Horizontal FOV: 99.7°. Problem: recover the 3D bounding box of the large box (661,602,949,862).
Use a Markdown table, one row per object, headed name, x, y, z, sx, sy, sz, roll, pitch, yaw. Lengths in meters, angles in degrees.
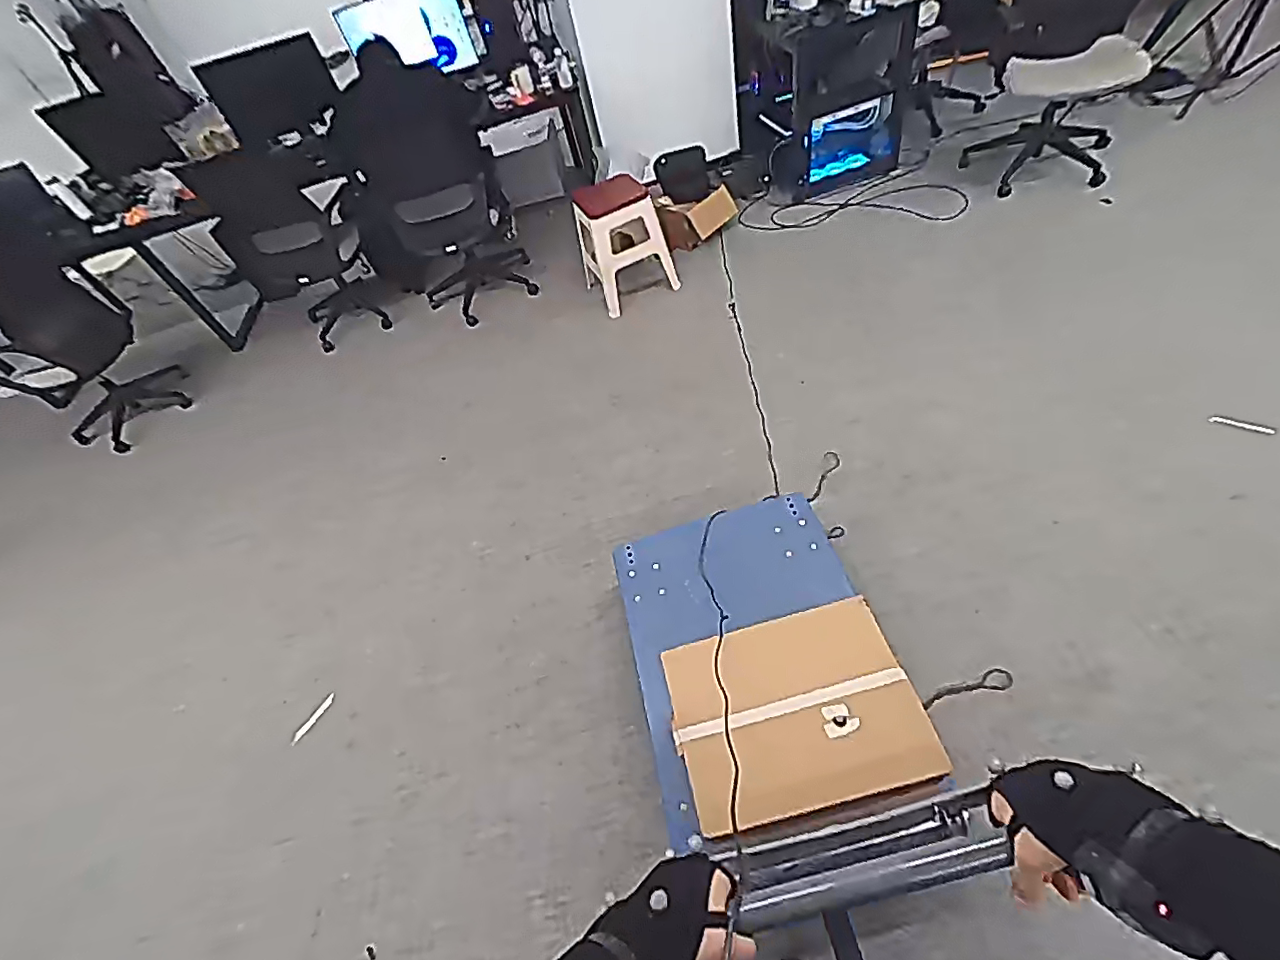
| name | x | y | z | sx | sy | sz | roll | pitch | yaw |
| --- | --- | --- | --- | --- | --- | --- | --- | --- | --- |
| large box | 0.286 | 0.492 | 1.041 | 0.408 | 0.320 | 0.320 | -16 | 50 | 1 |
